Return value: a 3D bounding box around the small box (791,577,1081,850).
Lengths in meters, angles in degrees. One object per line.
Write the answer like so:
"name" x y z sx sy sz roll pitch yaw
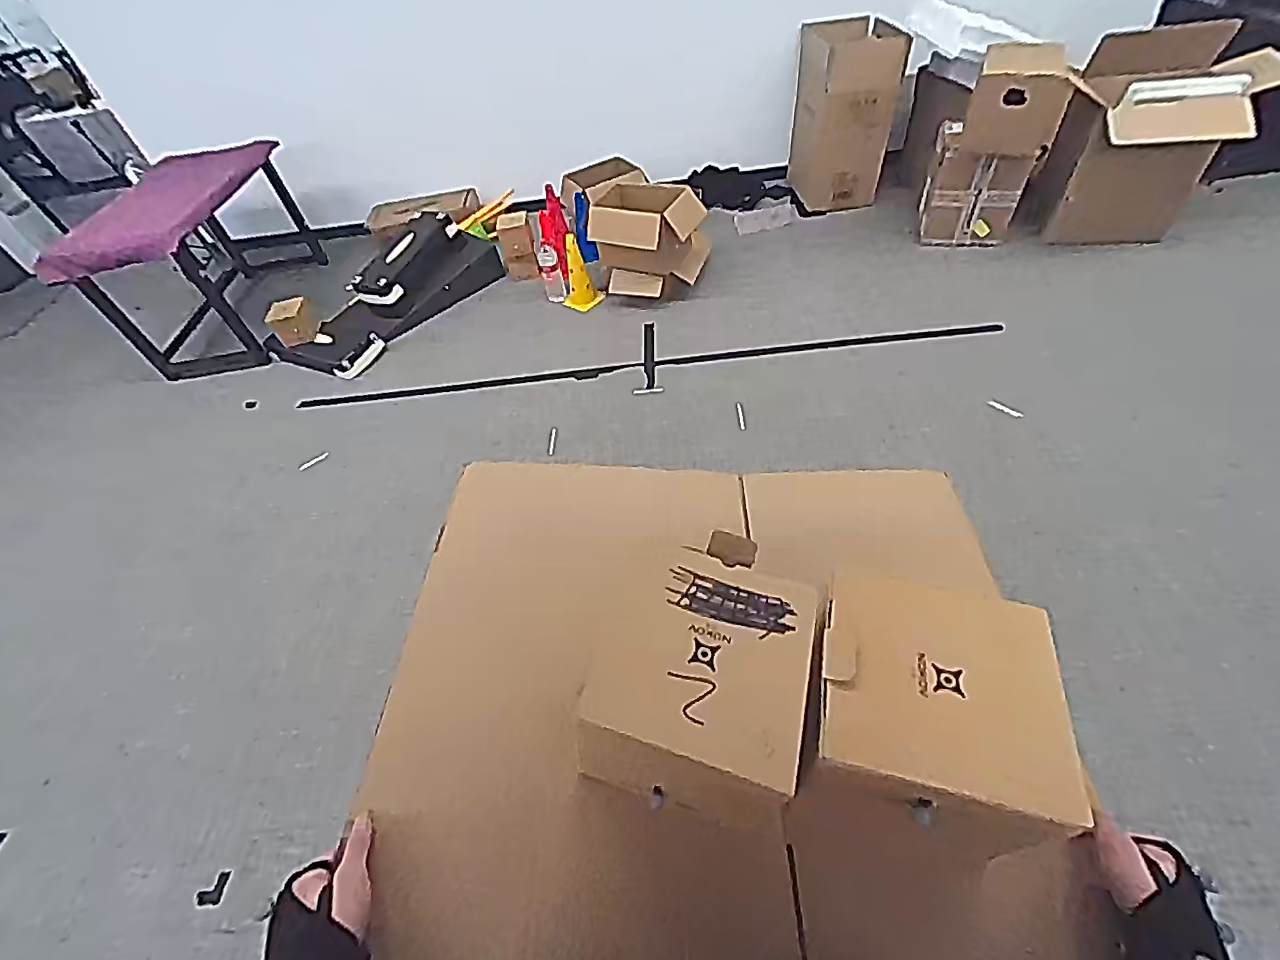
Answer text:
"small box" 0.245 0.216 0.494 0.179 0.176 0.168 9 50 14
